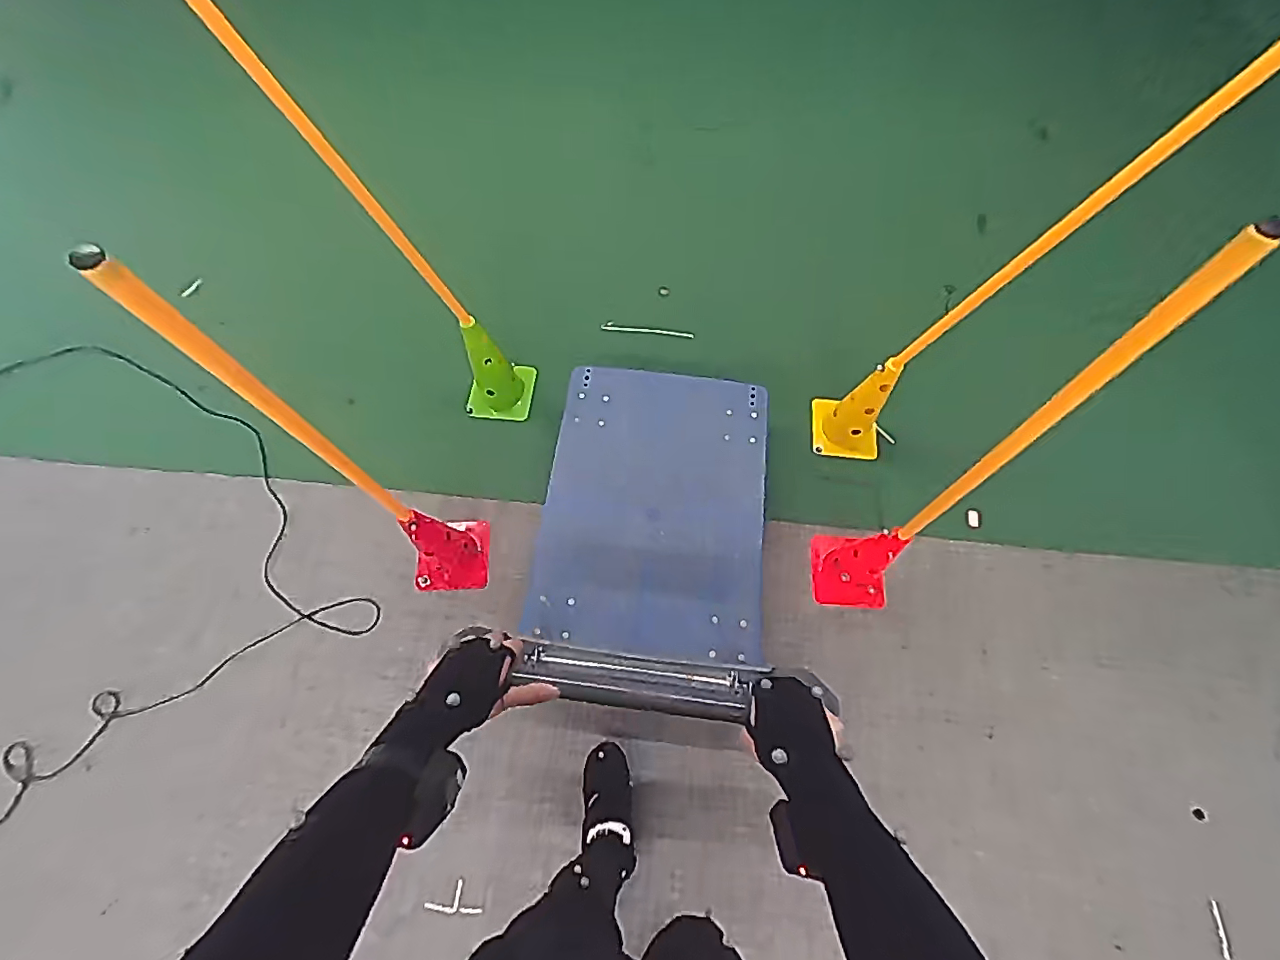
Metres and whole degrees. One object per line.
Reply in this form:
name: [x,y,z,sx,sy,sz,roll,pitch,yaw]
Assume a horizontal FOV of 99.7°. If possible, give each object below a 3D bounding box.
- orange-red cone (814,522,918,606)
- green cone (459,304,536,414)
orange-red cone: [0.590,0.177,1.353,0.198,0.360,0.199,6,66,1]
green cone: [-0.445,-0.368,1.569,0.200,0.368,0.202,5,67,2]
